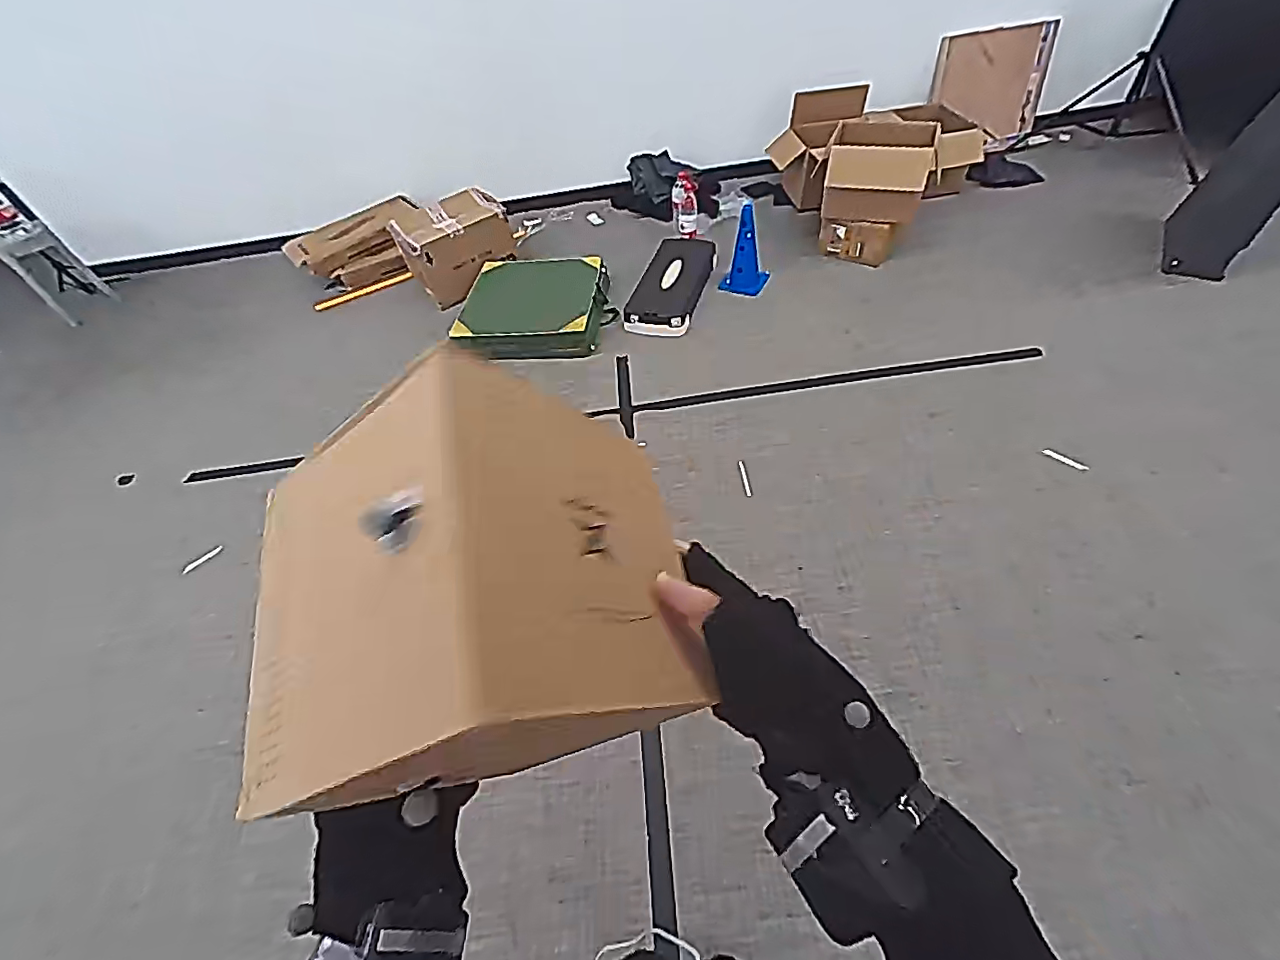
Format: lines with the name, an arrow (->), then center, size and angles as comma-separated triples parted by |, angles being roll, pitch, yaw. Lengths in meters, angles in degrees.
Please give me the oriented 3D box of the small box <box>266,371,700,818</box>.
small box -> -0.097, 0.075, 0.326 | 0.176, 0.168, 0.179 | -34, 57, 28
